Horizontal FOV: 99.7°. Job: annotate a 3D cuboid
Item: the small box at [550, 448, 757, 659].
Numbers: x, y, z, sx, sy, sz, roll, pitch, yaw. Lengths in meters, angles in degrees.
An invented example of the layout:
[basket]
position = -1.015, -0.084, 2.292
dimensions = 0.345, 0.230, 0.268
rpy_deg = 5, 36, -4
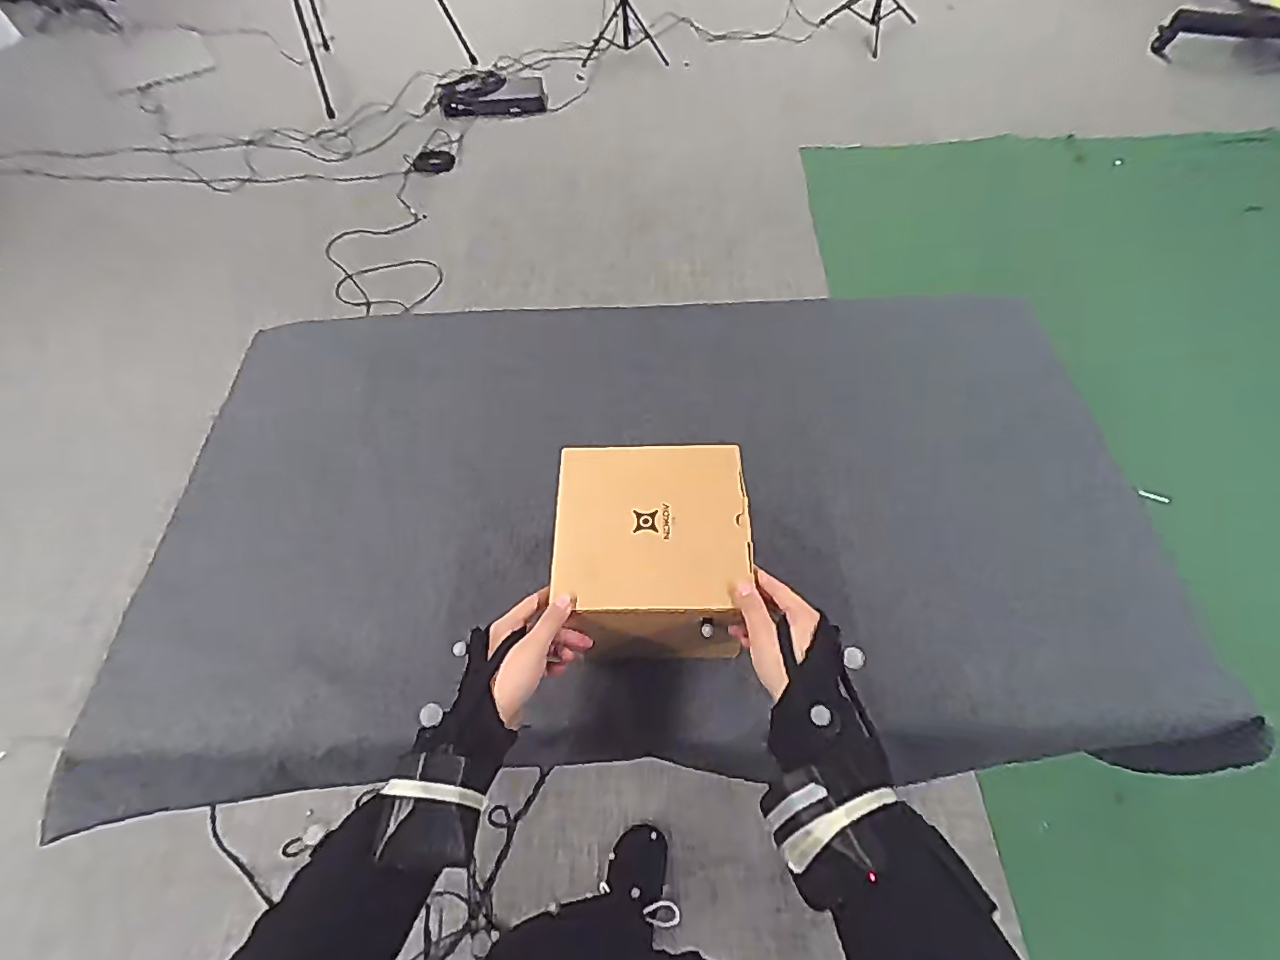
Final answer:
[small box]
position = 0.014, 0.082, 0.555
dimensions = 0.179, 0.176, 0.168
rpy_deg = -1, 58, 1
